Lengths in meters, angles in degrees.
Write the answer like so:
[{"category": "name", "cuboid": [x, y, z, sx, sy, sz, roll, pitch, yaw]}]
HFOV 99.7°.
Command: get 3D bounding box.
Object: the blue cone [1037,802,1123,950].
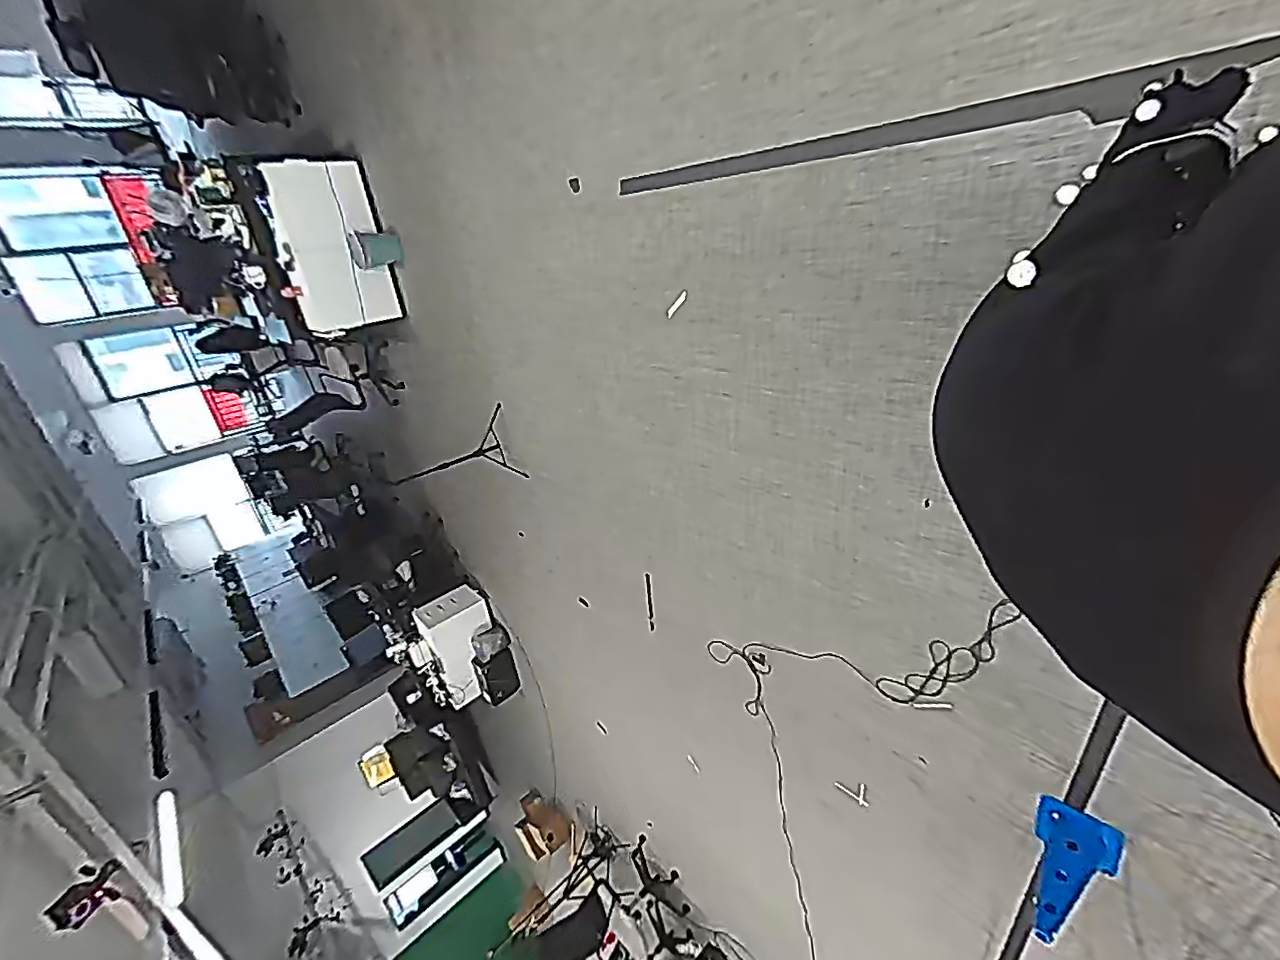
[{"category": "blue cone", "cuboid": [1.181, 1.123, 1.507, 0.192, 0.380, 0.193, 16, 124, 45]}]
